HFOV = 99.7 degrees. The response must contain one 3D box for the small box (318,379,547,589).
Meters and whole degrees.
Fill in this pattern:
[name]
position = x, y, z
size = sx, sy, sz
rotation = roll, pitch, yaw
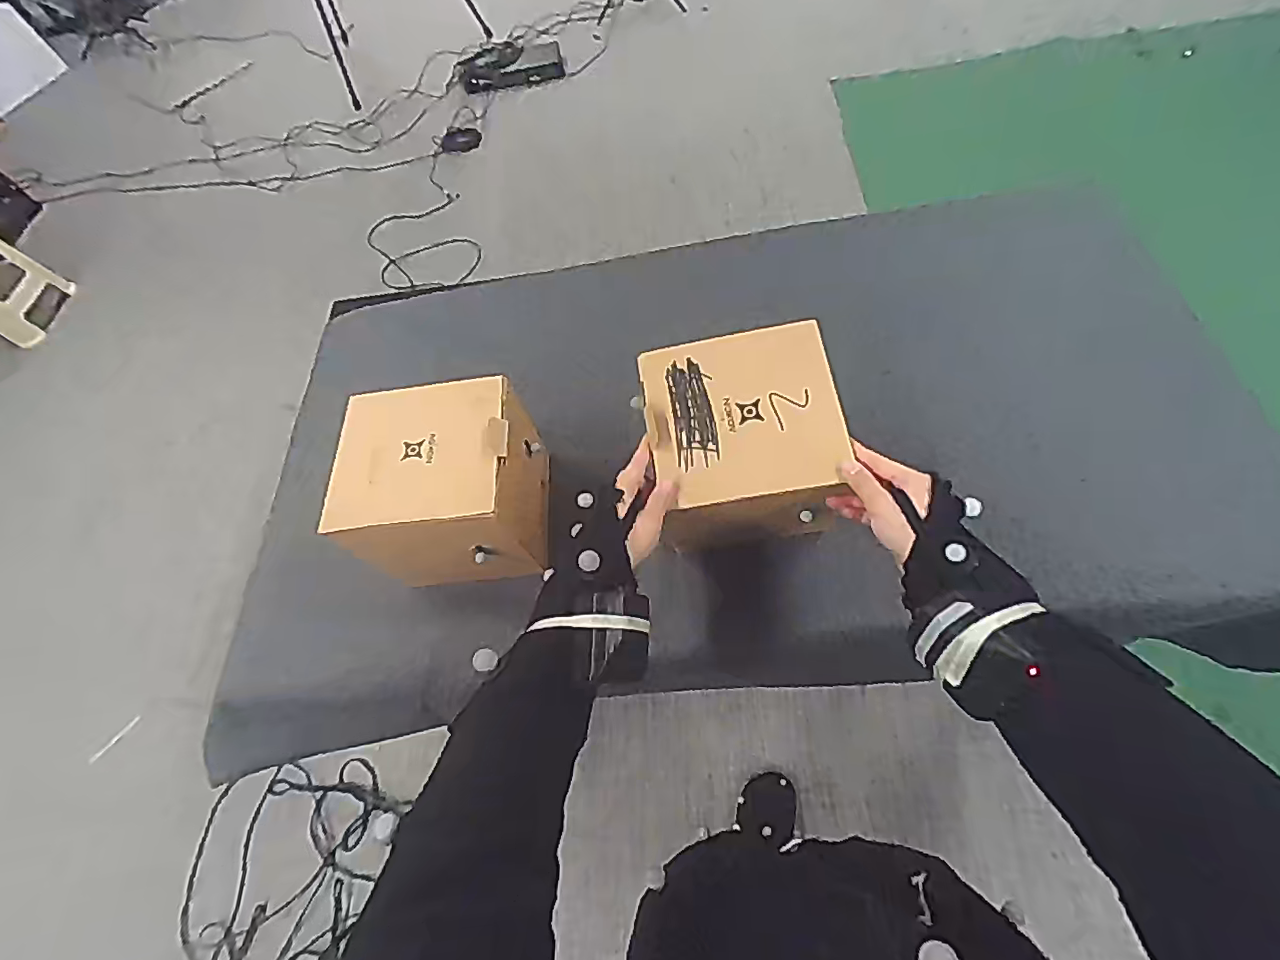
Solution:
[small box]
position = -0.209, 0.013, 0.604
size = 0.179, 0.176, 0.168
rotation = -7, 59, 5
